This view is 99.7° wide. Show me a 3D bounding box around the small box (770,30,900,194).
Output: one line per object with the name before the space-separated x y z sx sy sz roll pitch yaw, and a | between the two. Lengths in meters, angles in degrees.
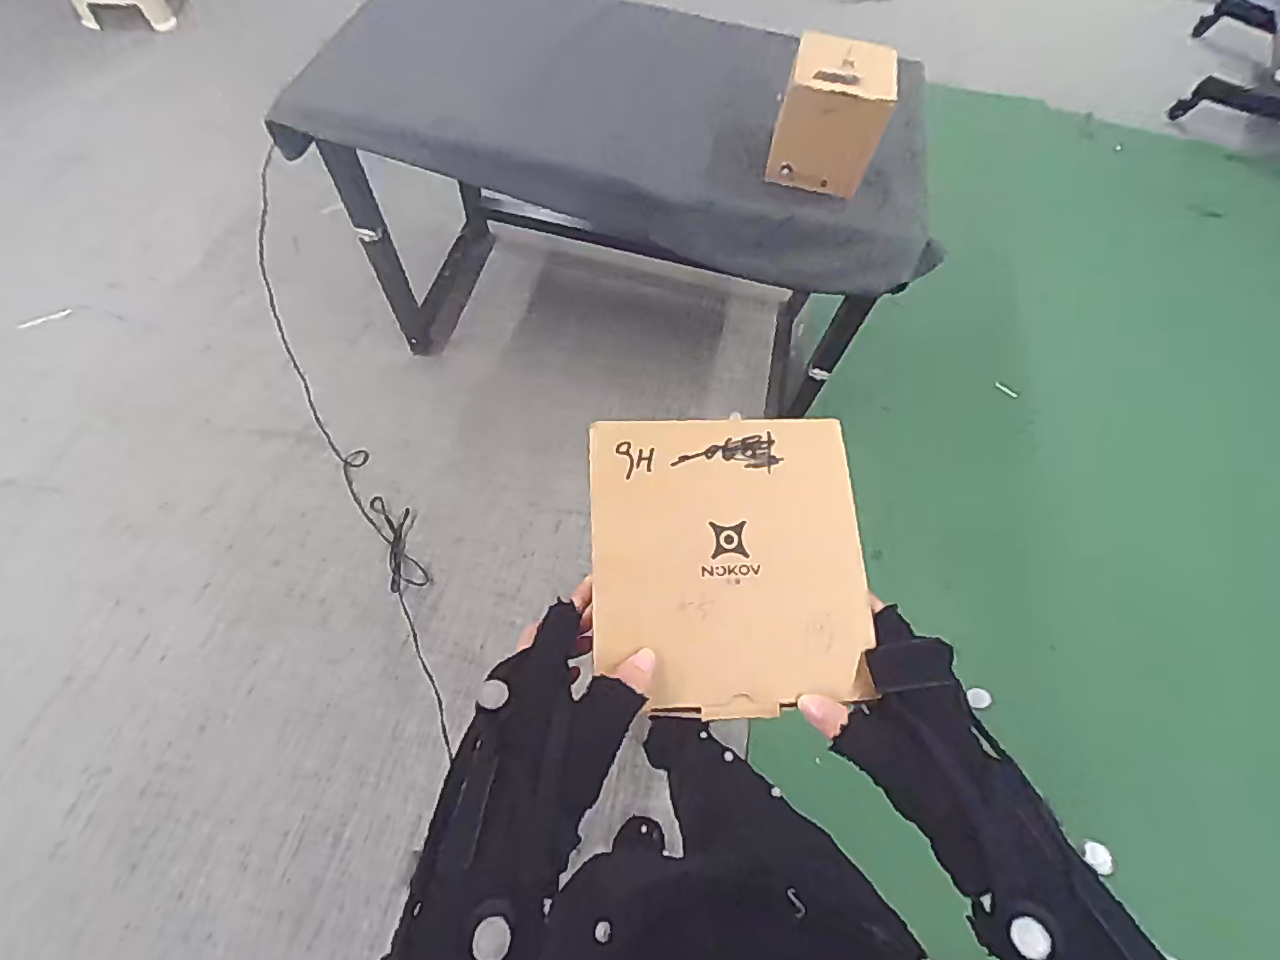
small box | 0.337 -0.641 0.955 0.168 0.176 0.179 14 62 2
